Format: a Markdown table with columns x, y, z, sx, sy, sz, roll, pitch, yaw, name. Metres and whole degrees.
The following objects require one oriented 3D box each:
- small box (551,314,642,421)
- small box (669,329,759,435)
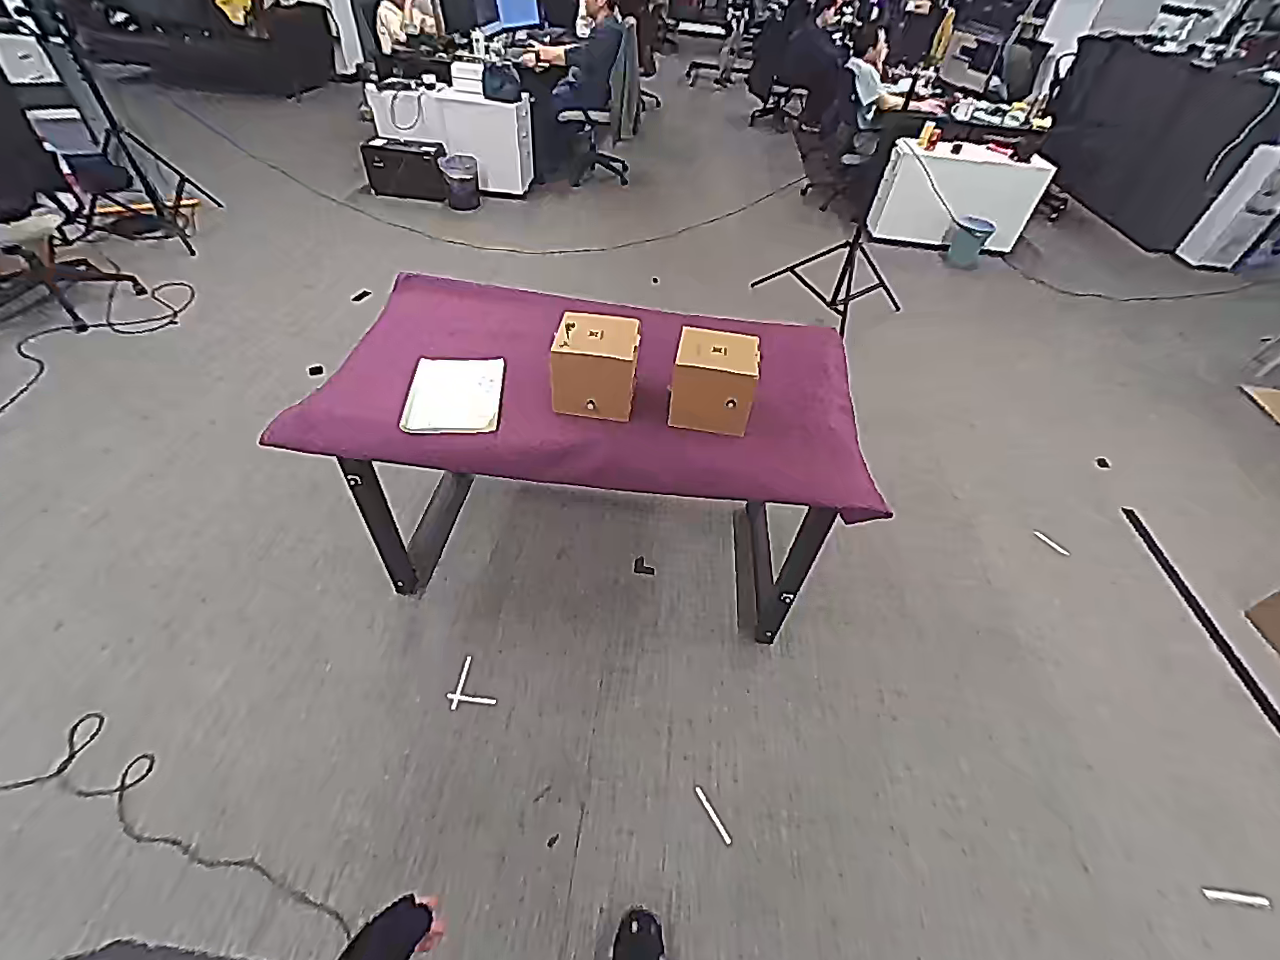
| x | y | z | sx | sy | sz | roll | pitch | yaw | name |
| --- | --- | --- | --- | --- | --- | --- | --- | --- | --- |
| -0.097 | -0.252 | 1.229 | 0.179 | 0.176 | 0.168 | 7 | 45 | 1 | small box |
| 0.166 | -0.219 | 1.224 | 0.179 | 0.176 | 0.168 | 8 | 43 | 5 | small box |
